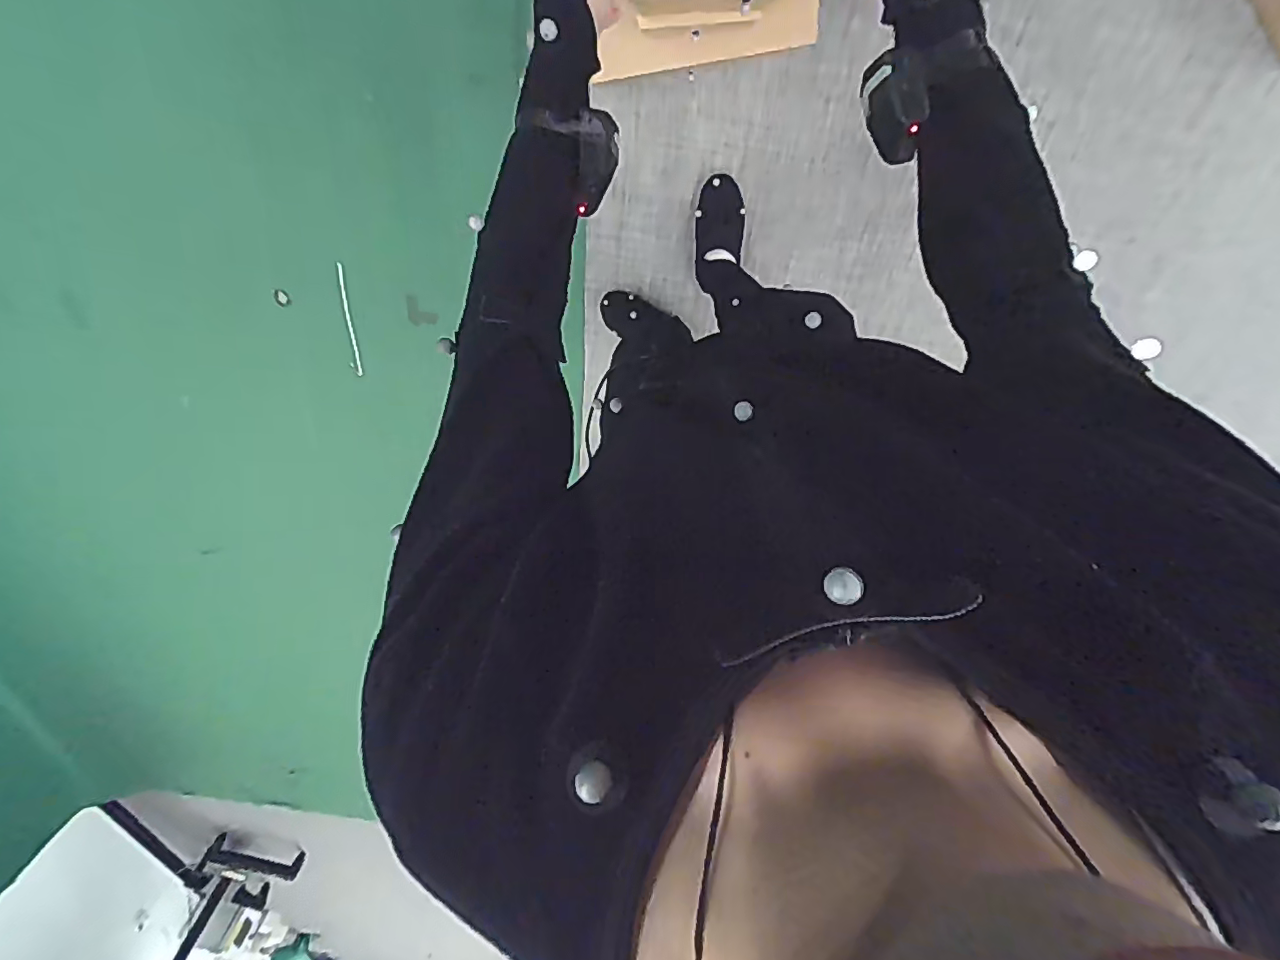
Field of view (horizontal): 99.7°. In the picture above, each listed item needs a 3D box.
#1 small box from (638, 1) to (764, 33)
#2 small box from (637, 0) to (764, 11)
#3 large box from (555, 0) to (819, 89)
[{"bbox_3d":[0.083,-0.714,0.719,0.168,0.176,0.179,0,125,5],"label":"small box"},{"bbox_3d":[0.073,-0.627,0.583,0.179,0.176,0.168,1,125,4],"label":"small box"},{"bbox_3d":[0.073,-0.877,0.905,0.408,0.320,0.320,-3,123,10],"label":"large box"}]
